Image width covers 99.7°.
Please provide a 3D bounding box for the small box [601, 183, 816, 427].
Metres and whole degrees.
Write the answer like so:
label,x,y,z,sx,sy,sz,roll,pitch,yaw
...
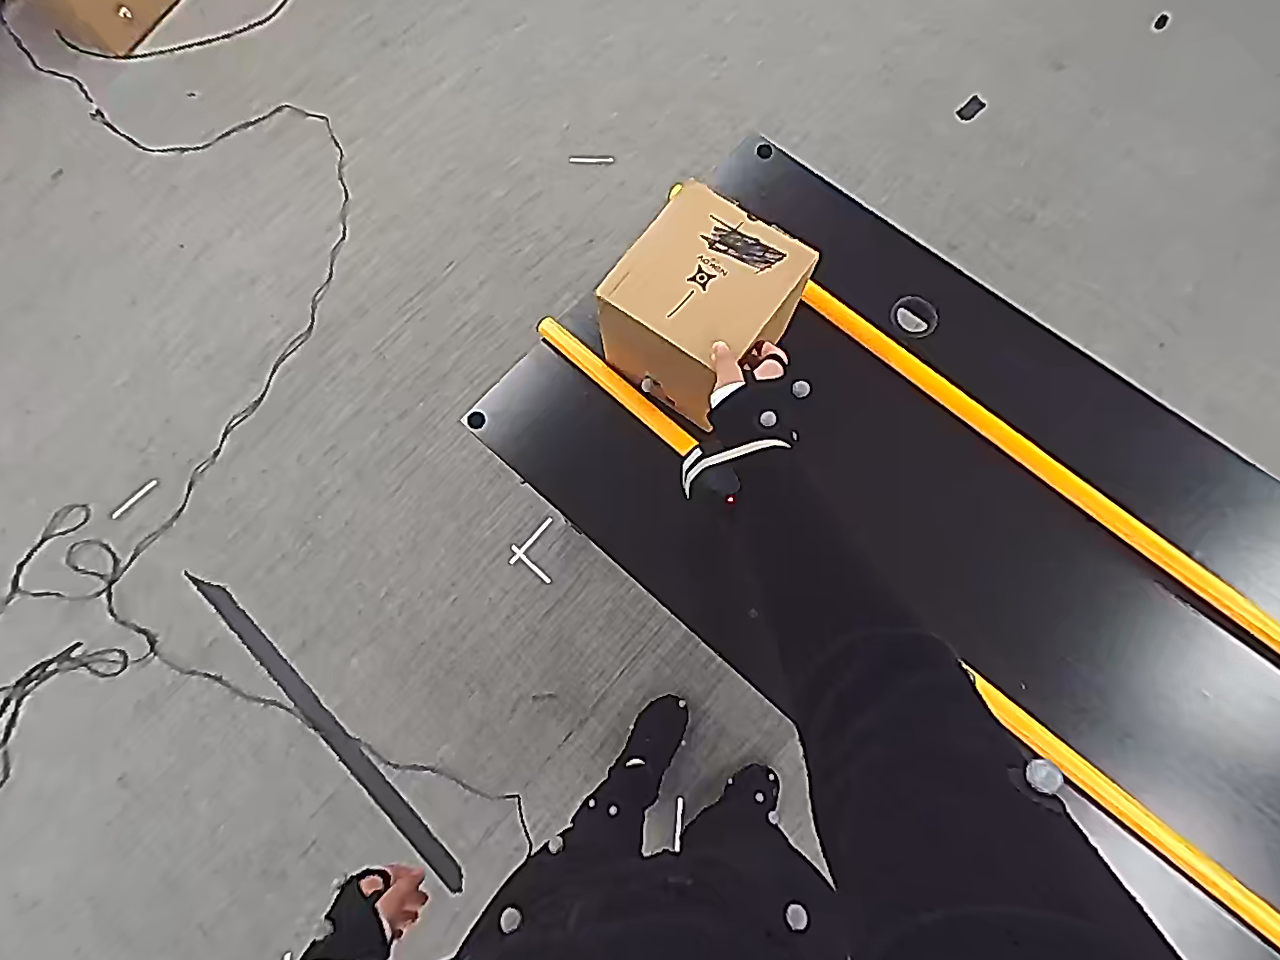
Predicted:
label,x,y,z,sx,sy,sz,roll,pitch,yaw
small box,0.073,-0.195,0.643,0.168,0.176,0.179,35,80,10
